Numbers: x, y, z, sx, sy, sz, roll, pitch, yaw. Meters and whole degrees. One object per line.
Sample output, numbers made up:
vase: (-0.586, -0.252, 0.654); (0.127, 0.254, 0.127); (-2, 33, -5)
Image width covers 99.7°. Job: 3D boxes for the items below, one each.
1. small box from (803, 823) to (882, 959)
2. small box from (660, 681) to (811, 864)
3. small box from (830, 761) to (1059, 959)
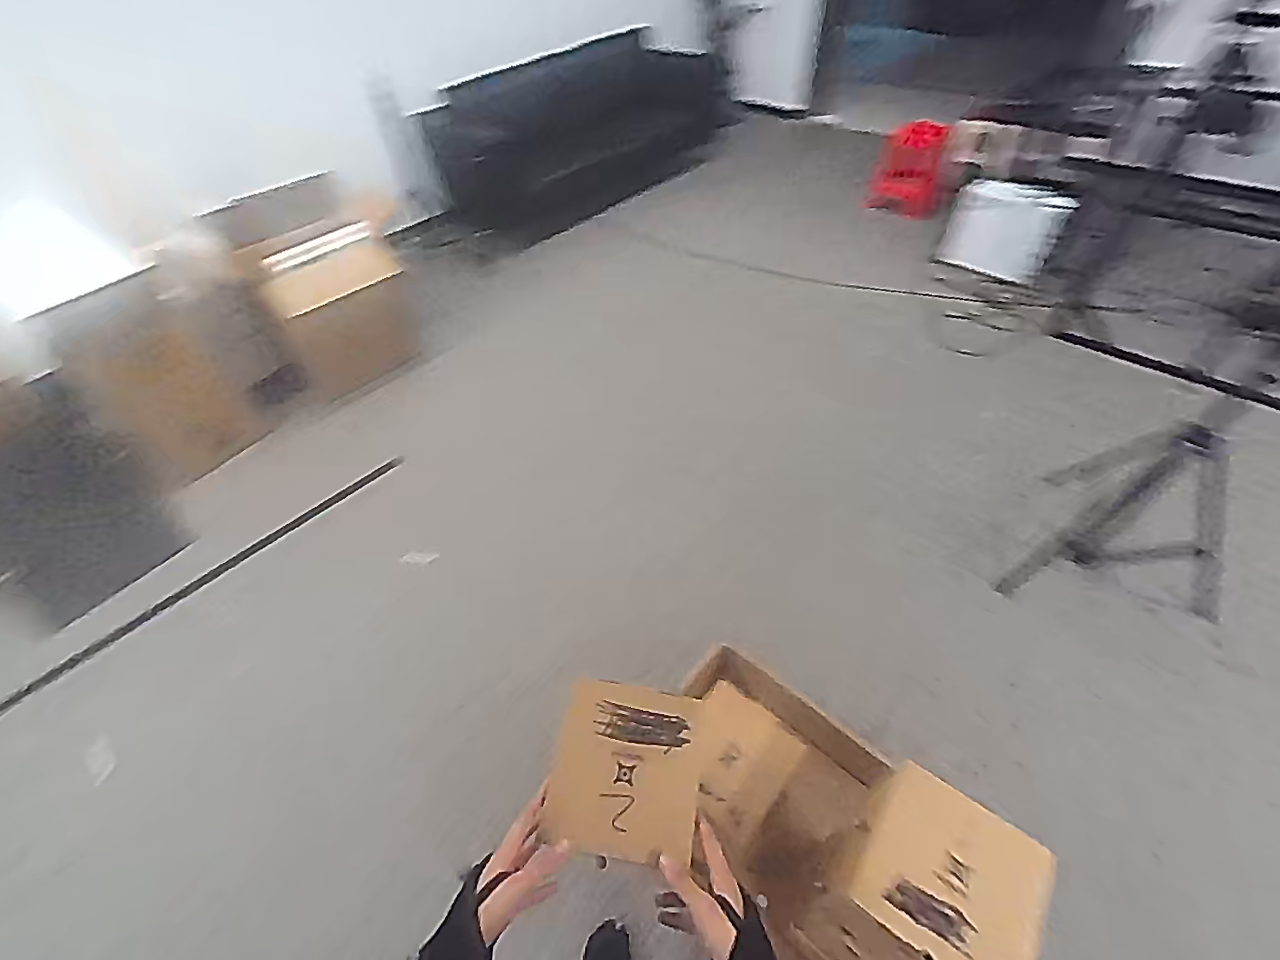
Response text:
small box: (0.346, 0.601, 0.749); (0.168, 0.176, 0.179); (31, 57, 28)
small box: (0.147, 0.474, 0.879); (0.168, 0.176, 0.179); (34, 56, 31)
small box: (0.342, 0.480, 0.637); (0.168, 0.176, 0.179); (29, 55, 26)
